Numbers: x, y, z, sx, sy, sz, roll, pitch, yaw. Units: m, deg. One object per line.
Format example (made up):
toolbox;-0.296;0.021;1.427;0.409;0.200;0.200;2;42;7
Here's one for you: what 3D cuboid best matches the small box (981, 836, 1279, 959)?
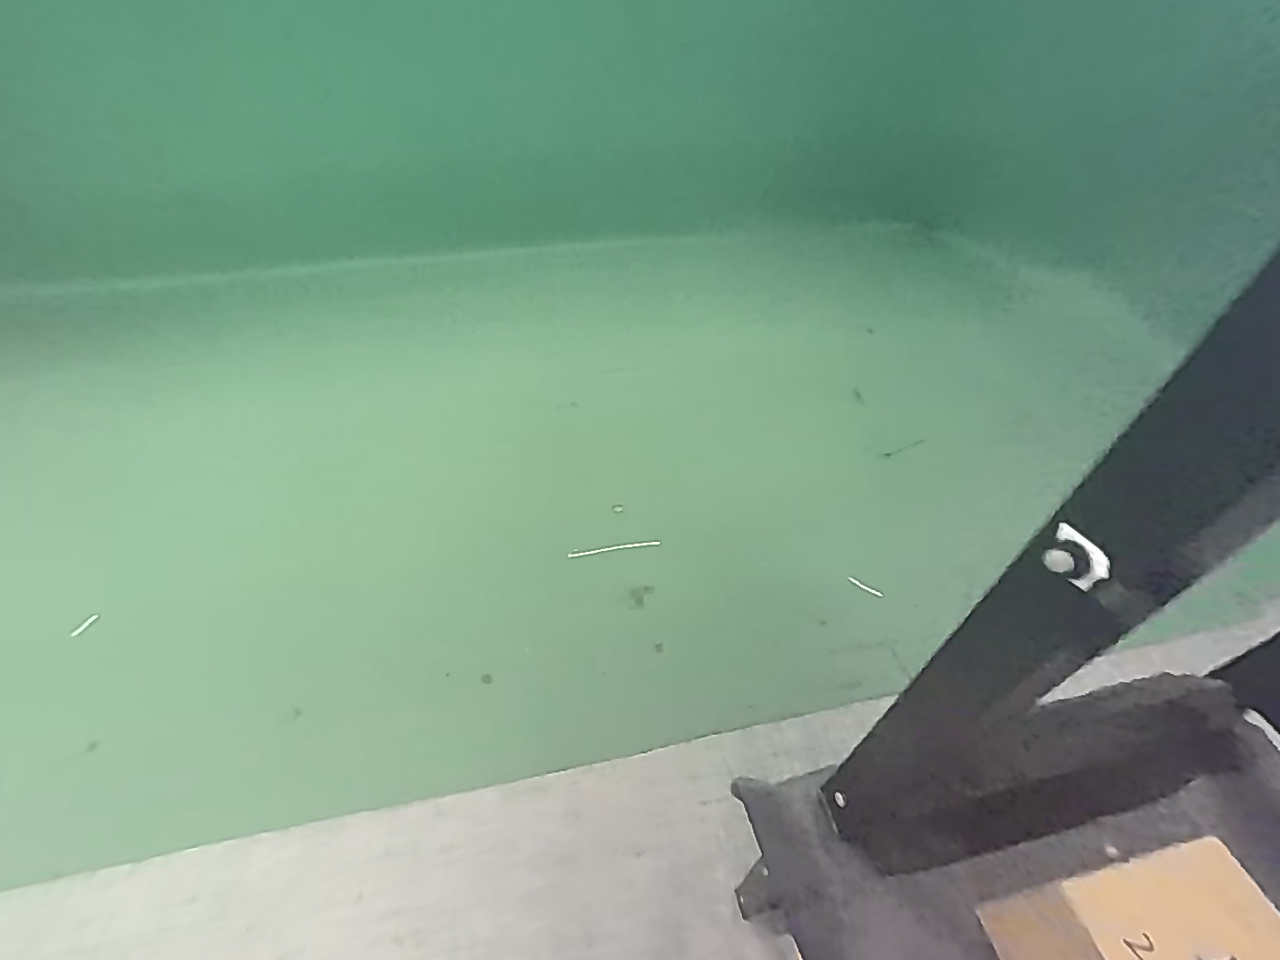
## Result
small box;0.468;0.457;0.497;0.179;0.176;0.168;-9;46;-9
